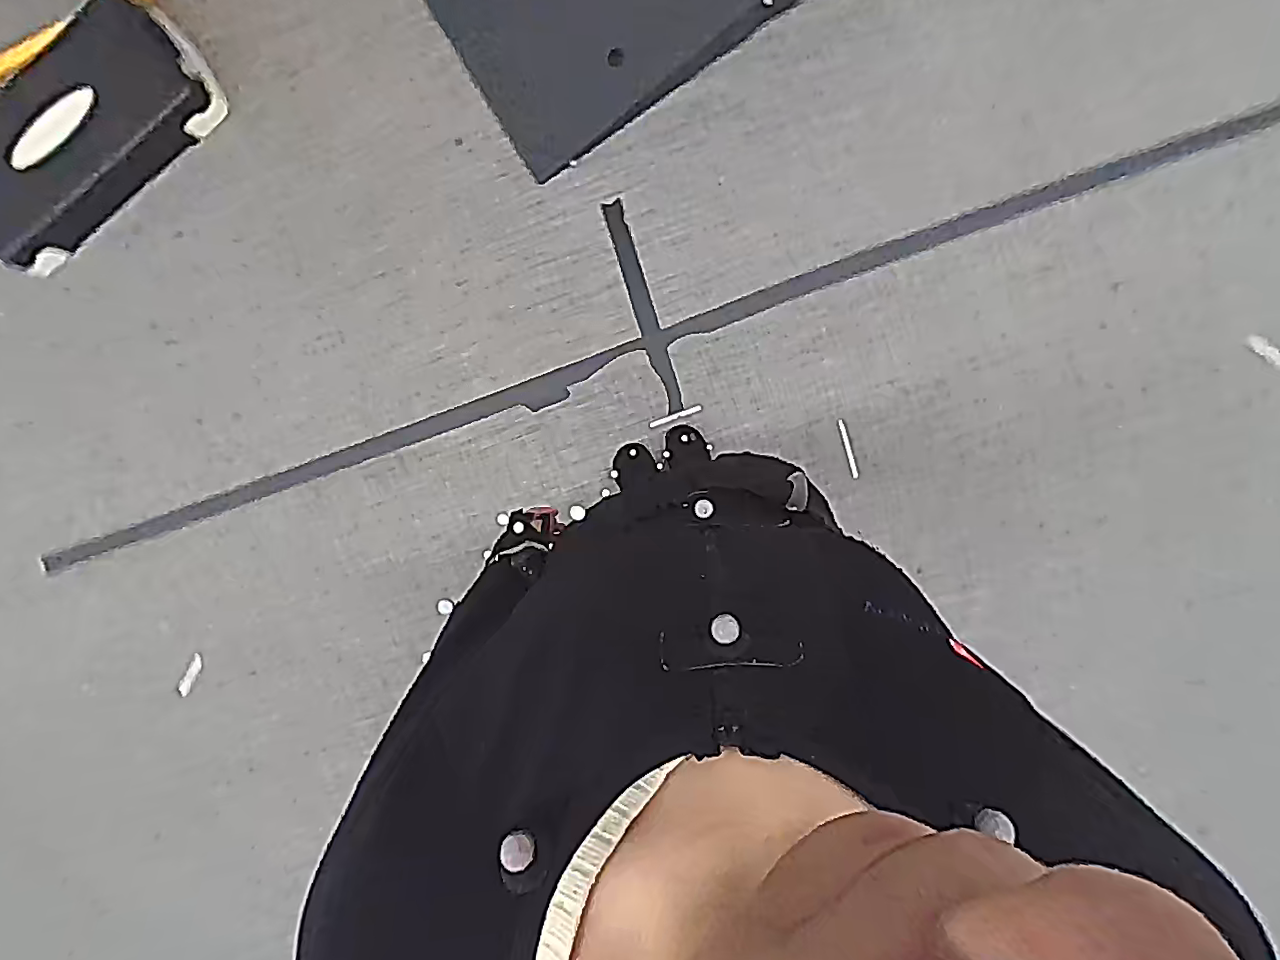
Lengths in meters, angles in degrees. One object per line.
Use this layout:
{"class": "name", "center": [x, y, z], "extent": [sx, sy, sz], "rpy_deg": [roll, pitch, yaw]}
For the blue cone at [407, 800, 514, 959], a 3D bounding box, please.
{"class": "blue cone", "center": [-0.469, 1.015, 1.353], "extent": [0.192, 0.380, 0.193], "rpy_deg": [-18, 97, 5]}
